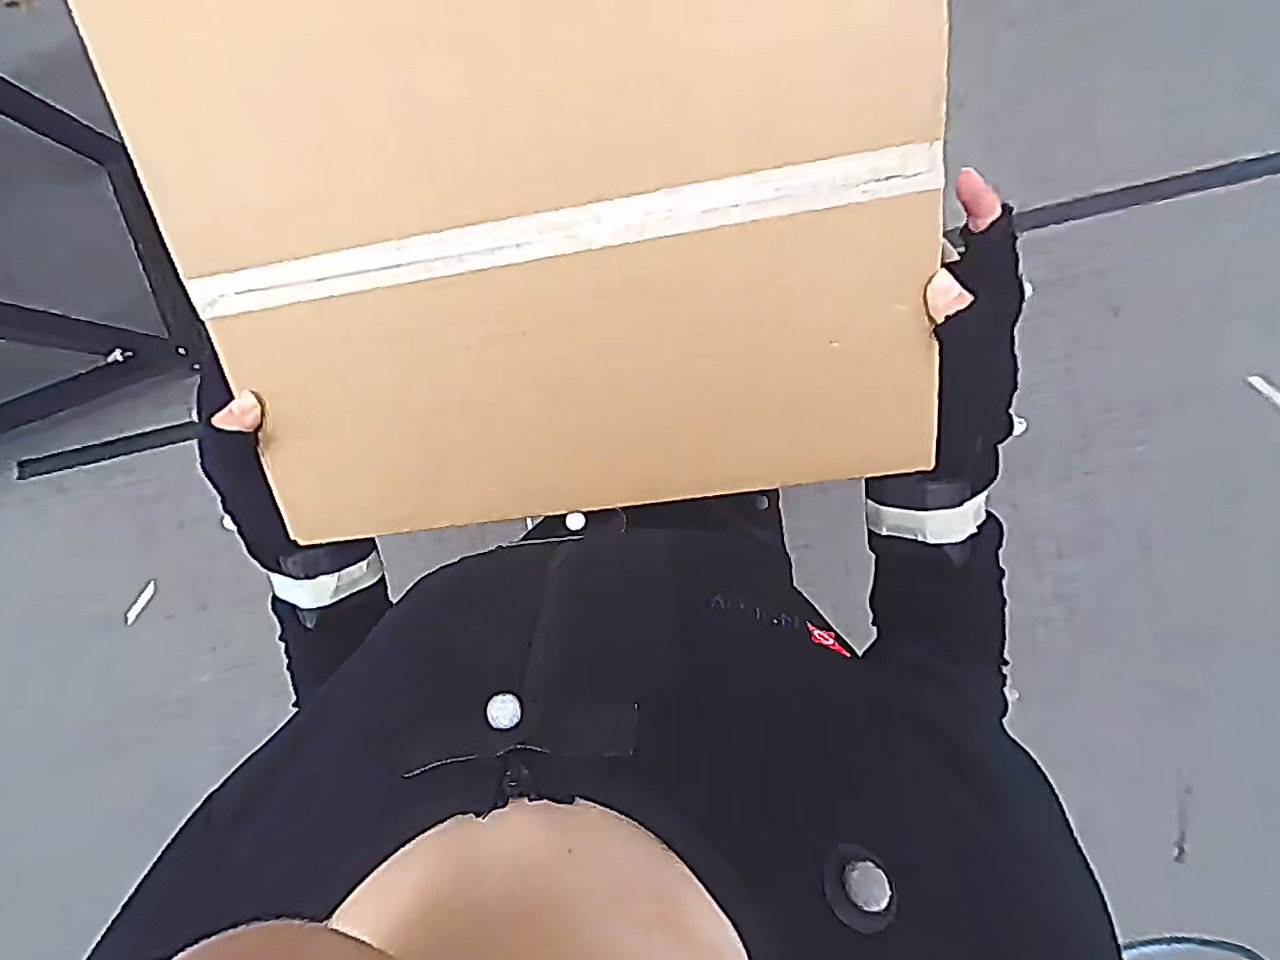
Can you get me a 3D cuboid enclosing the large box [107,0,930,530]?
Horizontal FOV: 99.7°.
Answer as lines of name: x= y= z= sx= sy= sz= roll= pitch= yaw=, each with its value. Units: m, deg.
large box: x=-0.043 y=-0.183 z=0.436 sx=0.408 sy=0.320 sz=0.320 roll=-7 pitch=110 yaw=6
